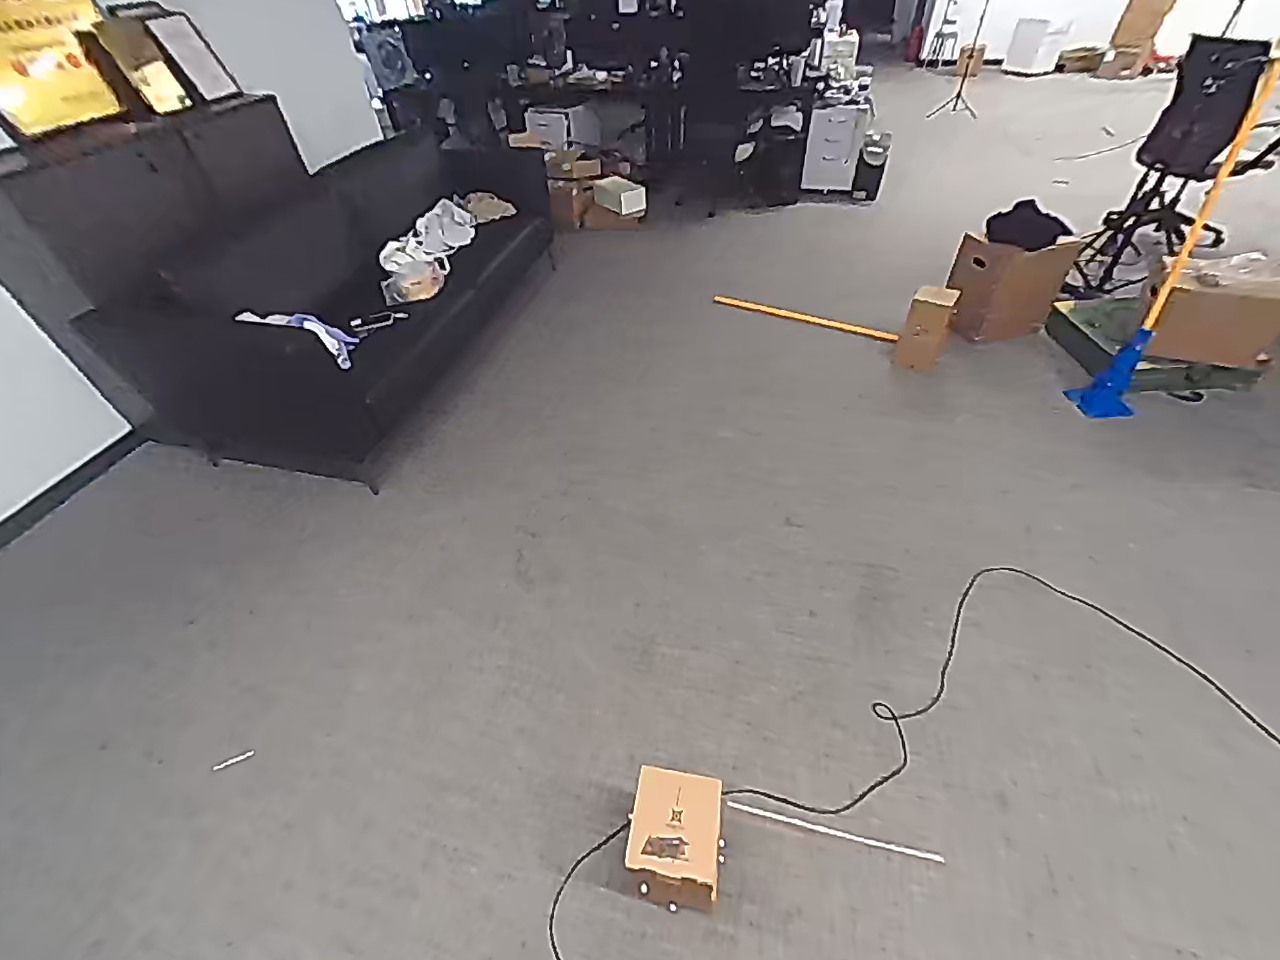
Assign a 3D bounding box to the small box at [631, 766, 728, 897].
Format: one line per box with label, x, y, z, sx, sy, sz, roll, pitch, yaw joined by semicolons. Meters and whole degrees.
small box;0.086;0.709;1.087;0.168;0.176;0.179;5;44;11
